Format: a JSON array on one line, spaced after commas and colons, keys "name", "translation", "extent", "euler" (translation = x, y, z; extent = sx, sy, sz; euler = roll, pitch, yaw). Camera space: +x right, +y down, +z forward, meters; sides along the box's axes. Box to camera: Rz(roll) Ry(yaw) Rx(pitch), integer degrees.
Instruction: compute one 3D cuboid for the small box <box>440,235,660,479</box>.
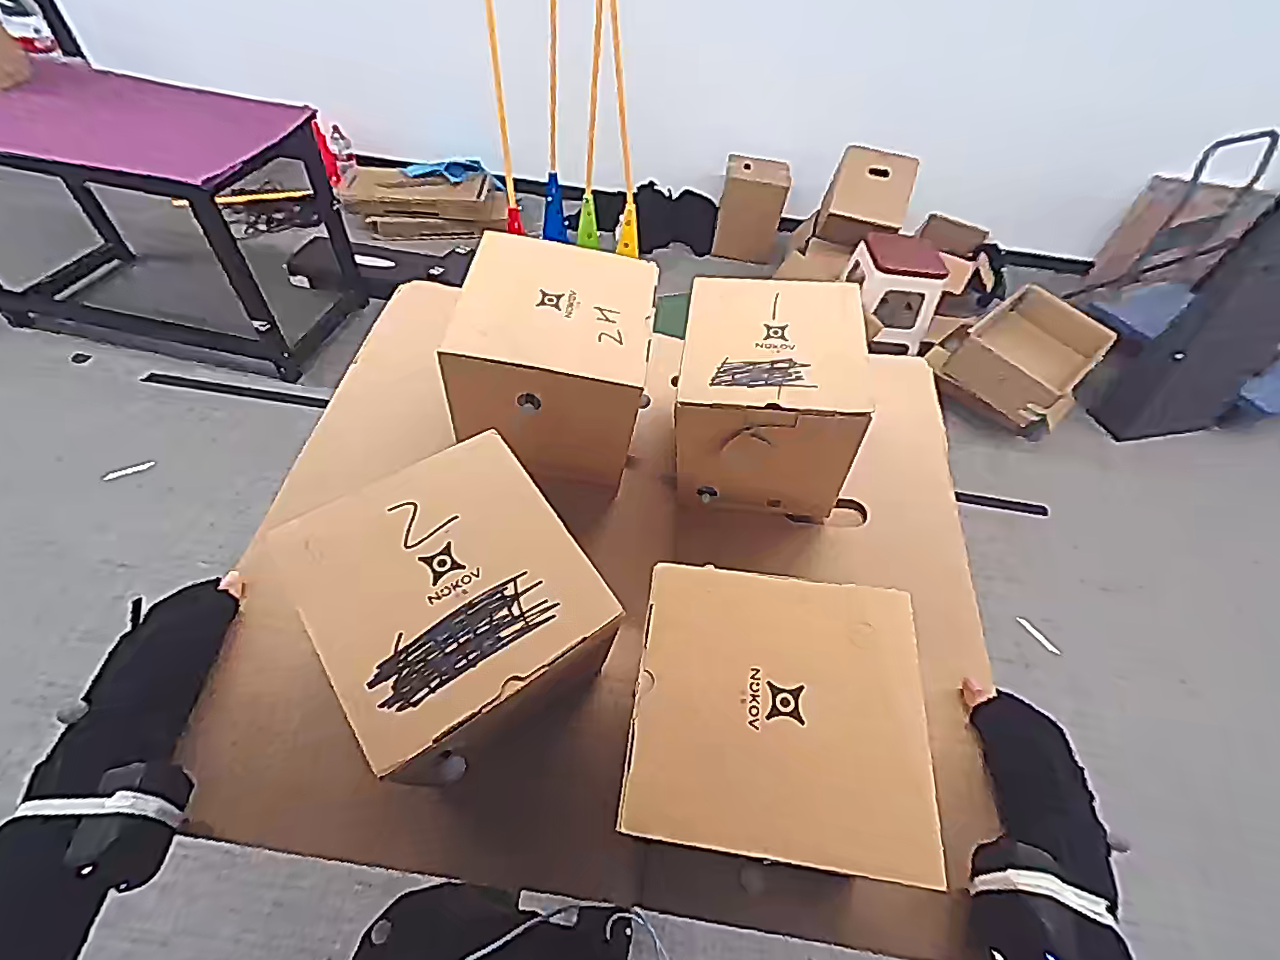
[{"name": "small box", "translation": [-0.086, -0.118, 0.564], "extent": [0.179, 0.176, 0.168], "euler": [10, 59, -5]}]
